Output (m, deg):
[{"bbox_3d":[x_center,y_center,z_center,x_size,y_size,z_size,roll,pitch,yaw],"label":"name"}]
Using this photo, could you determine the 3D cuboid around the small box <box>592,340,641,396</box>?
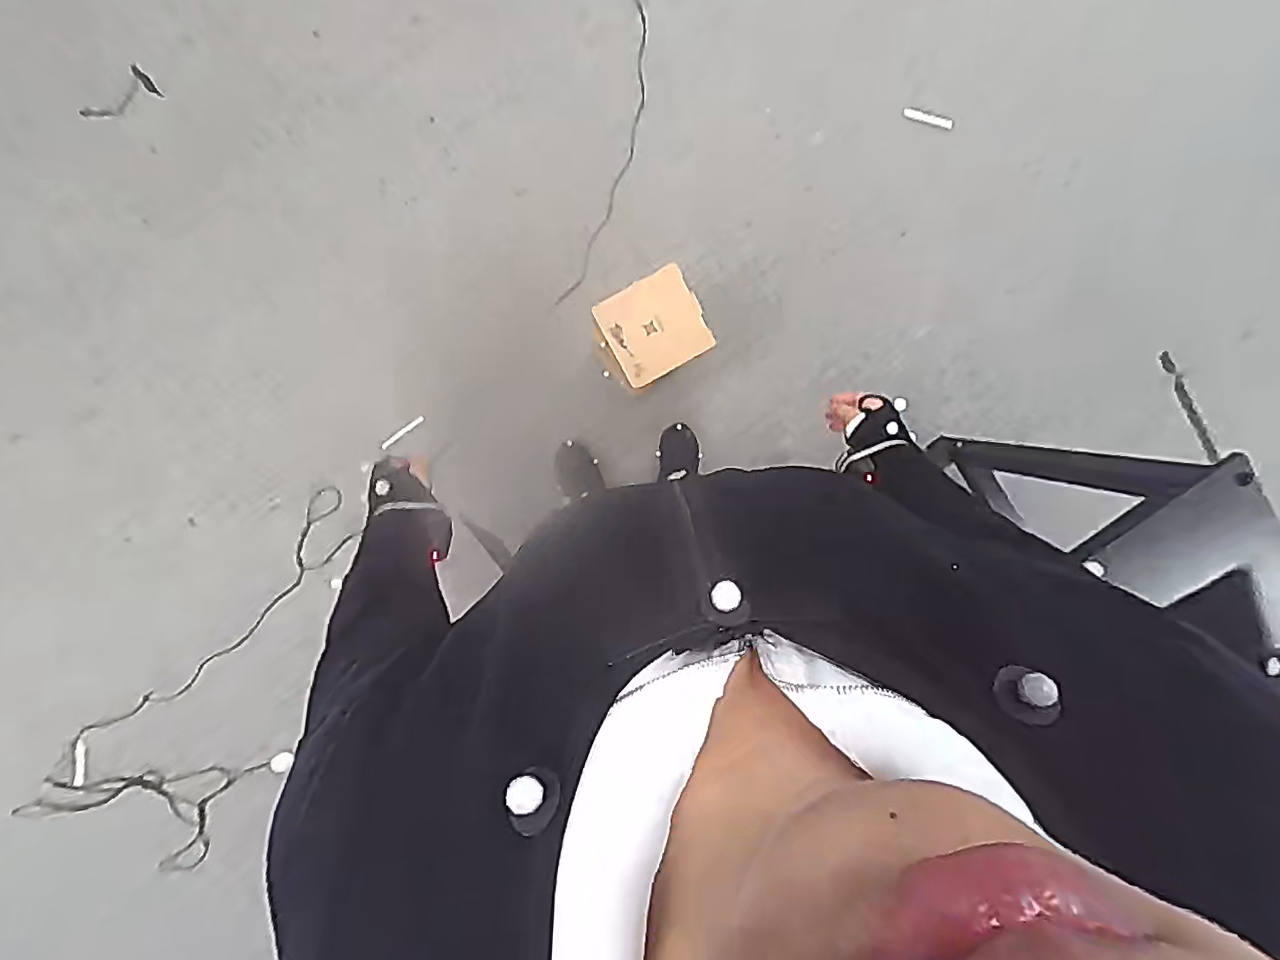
[{"bbox_3d":[-0.006,-0.332,1.374,0.179,0.176,0.168,-40,98,3],"label":"small box"}]

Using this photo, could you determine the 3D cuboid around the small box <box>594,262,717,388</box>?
[{"bbox_3d":[0.021,-0.291,1.051,0.179,0.176,0.168,-29,99,0],"label":"small box"}]
